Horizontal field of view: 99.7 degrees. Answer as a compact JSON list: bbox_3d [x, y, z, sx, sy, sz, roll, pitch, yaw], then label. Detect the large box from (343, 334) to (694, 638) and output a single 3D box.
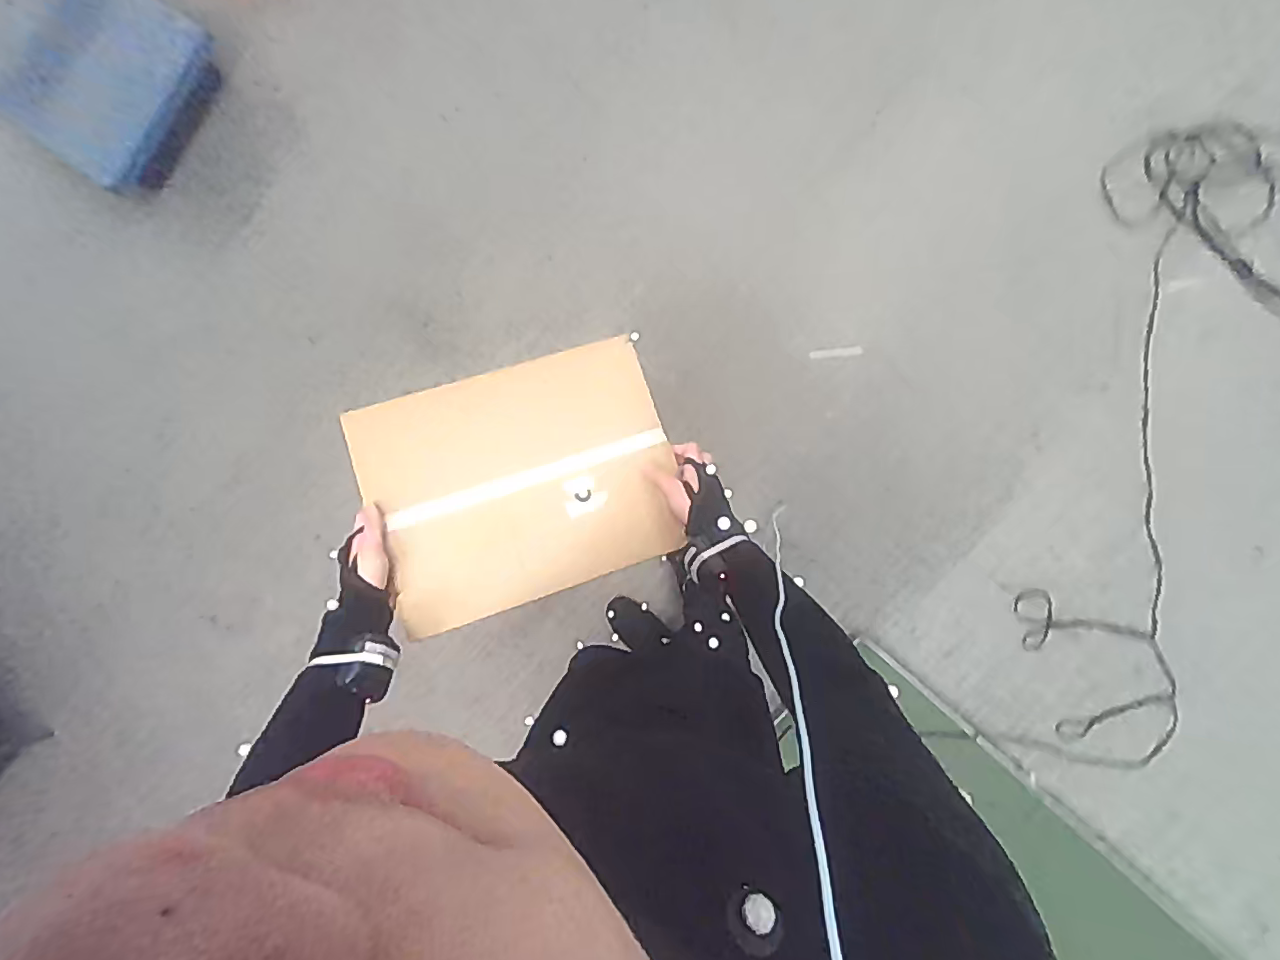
[{"bbox_3d":[-0.178,0.019,0.874,0.408,0.320,0.320,-19,85,-10],"label":"large box"}]
